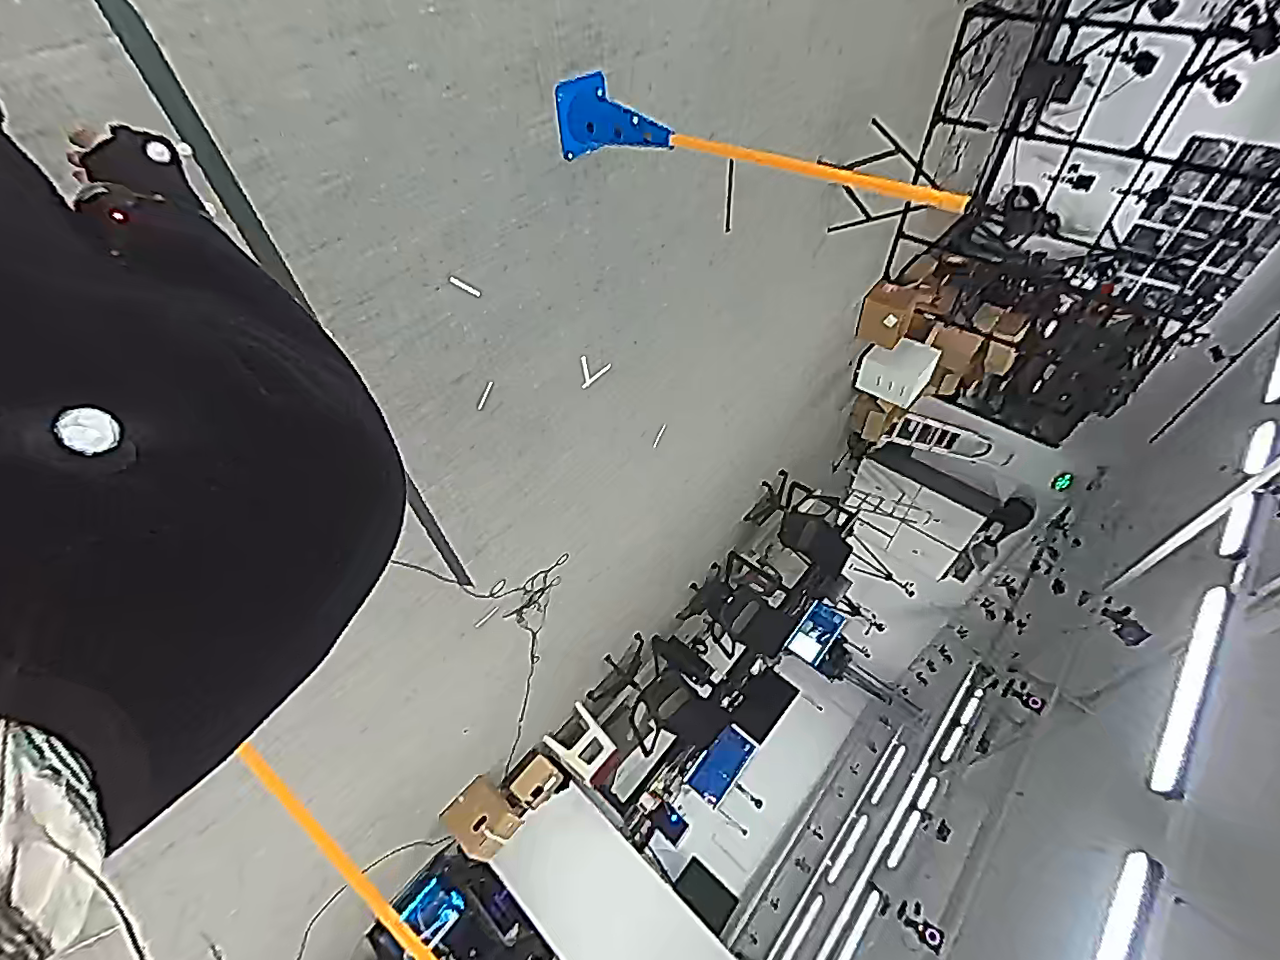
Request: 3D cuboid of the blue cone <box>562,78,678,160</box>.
[{"bbox_3d":[-0.044,-1.027,1.582,0.193,0.380,0.192,-40,149,-29],"label":"blue cone"}]
